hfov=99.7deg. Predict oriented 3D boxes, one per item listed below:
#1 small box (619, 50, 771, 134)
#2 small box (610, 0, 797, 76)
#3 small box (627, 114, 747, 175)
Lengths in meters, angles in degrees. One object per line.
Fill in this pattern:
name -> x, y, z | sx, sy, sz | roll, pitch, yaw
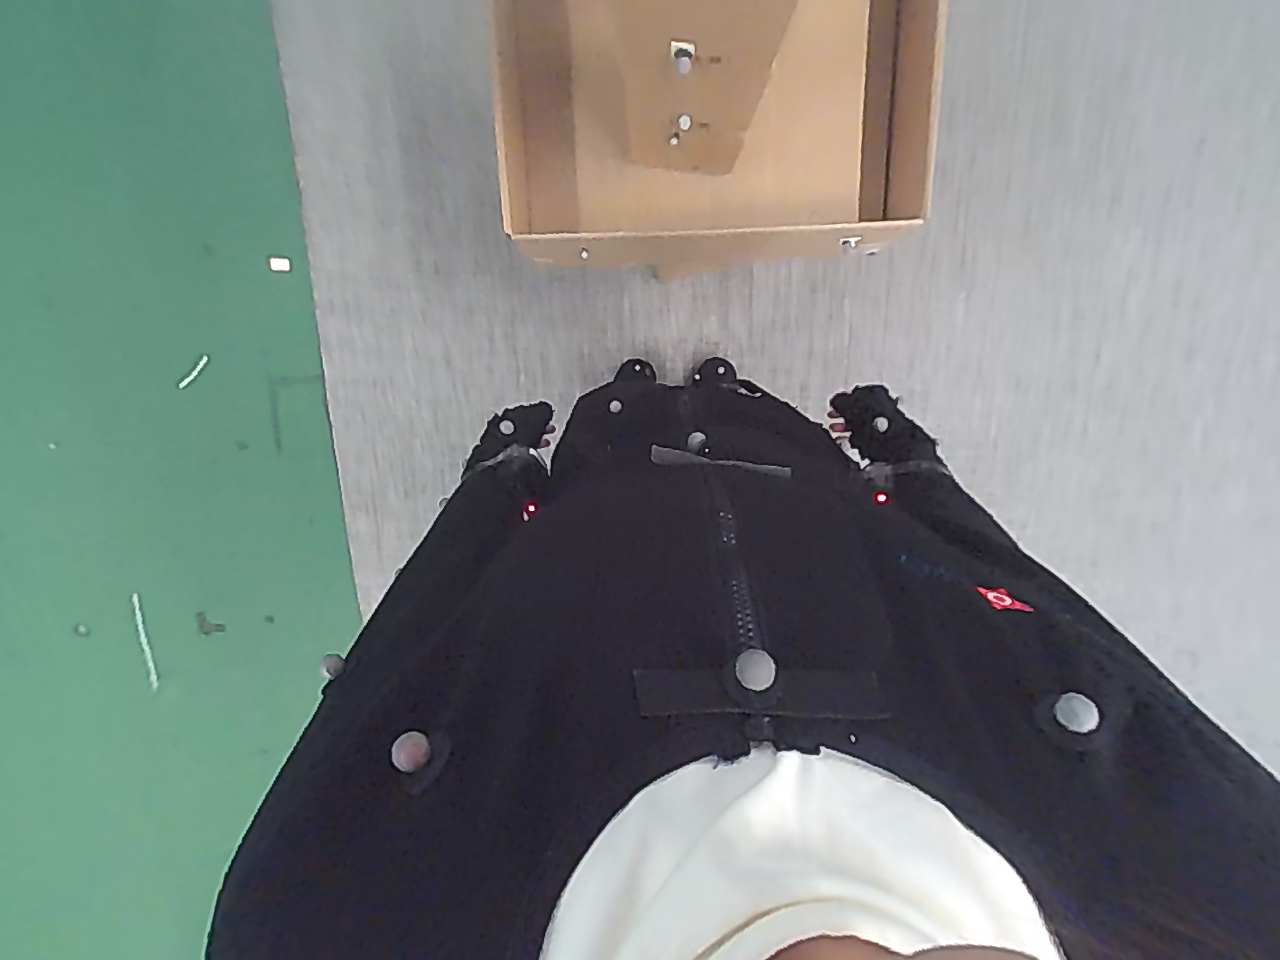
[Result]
small box -> 0.064, -0.542, 0.636 | 0.168, 0.176, 0.179 | 4, 103, 0
small box -> 0.058, -0.502, 0.479 | 0.168, 0.176, 0.179 | 3, 104, 1
small box -> 0.072, -0.579, 0.795 | 0.168, 0.176, 0.179 | 6, 102, 0
